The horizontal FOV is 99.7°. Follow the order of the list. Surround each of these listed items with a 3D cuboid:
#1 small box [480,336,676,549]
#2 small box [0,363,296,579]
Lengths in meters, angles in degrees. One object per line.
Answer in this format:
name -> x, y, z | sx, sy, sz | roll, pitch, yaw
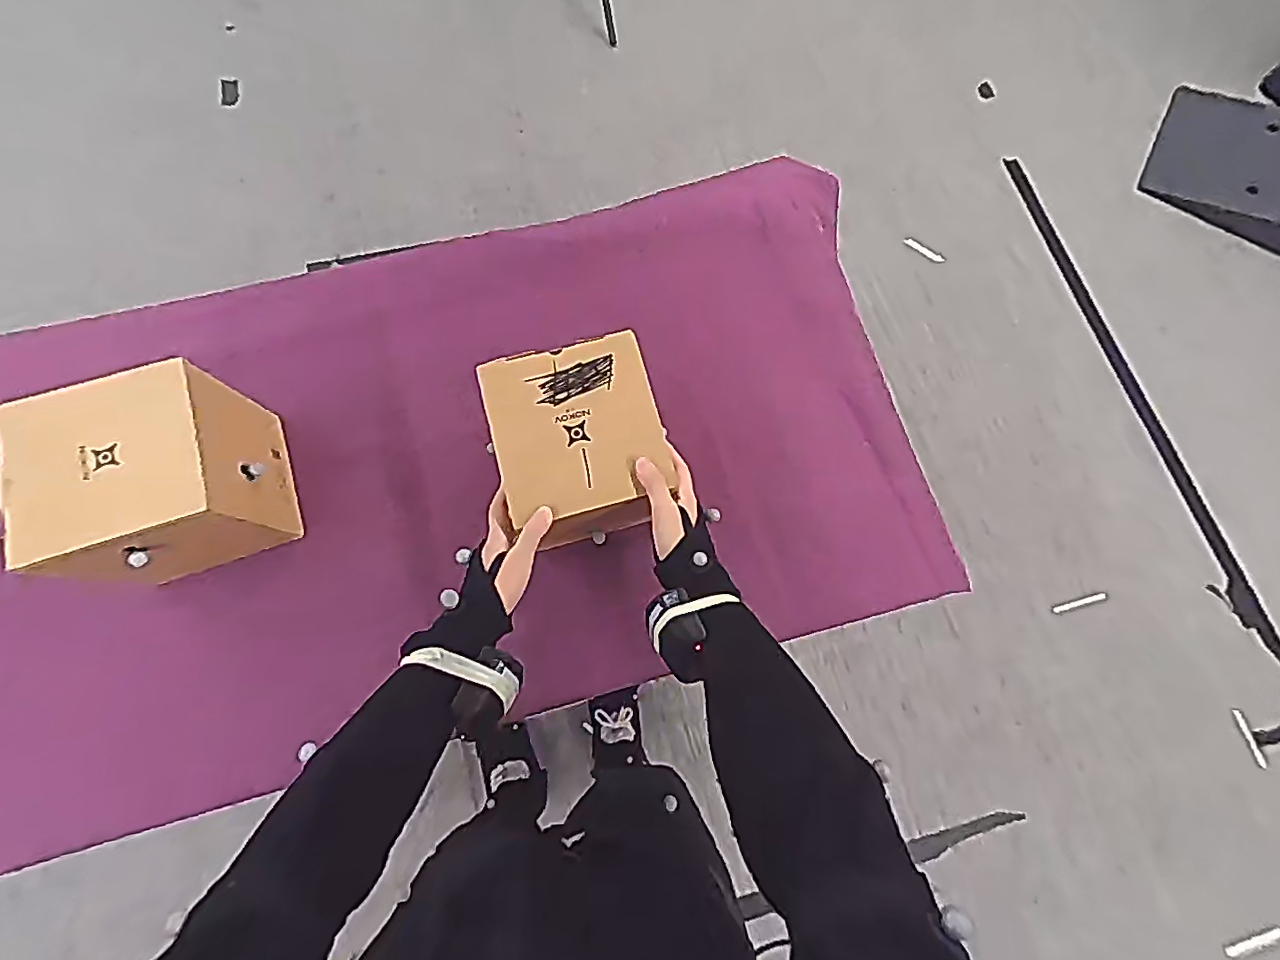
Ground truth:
small box -> -0.068, -0.032, 0.613 | 0.168, 0.176, 0.179 | -15, 78, -6
small box -> -0.508, 0.001, 0.587 | 0.179, 0.176, 0.168 | -19, 78, -7
